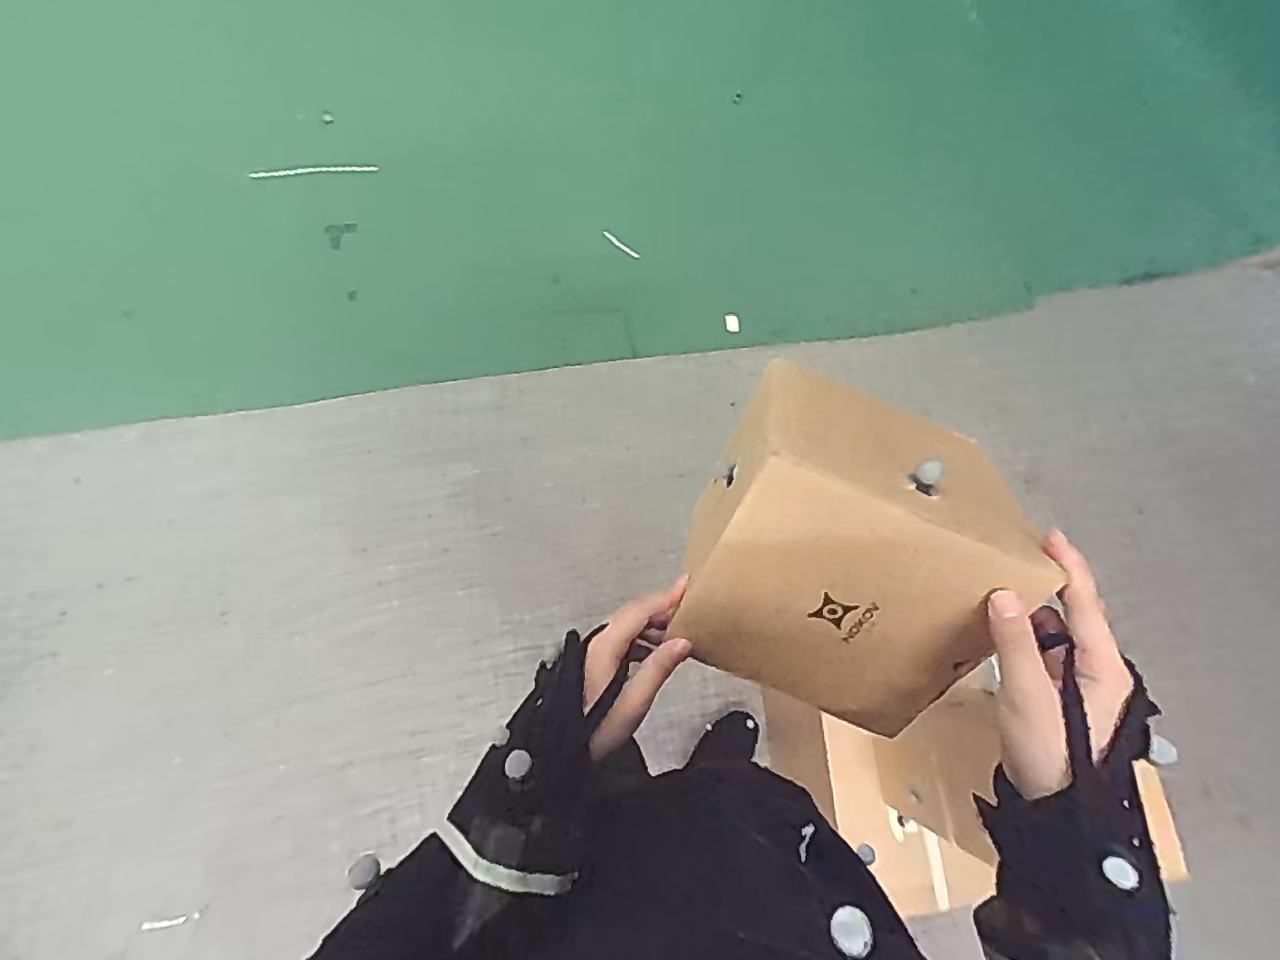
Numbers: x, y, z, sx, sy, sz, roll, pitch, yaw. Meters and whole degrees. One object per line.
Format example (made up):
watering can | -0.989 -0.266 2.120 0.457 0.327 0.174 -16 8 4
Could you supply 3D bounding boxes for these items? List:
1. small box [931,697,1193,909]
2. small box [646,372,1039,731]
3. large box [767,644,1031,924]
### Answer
small box | 0.504 0.383 0.676 0.168 0.176 0.179 -6 75 -8
small box | 0.123 0.038 0.396 0.179 0.168 0.176 21 32 0
large box | 0.457 0.532 1.055 0.320 0.320 0.408 -3 76 -6
